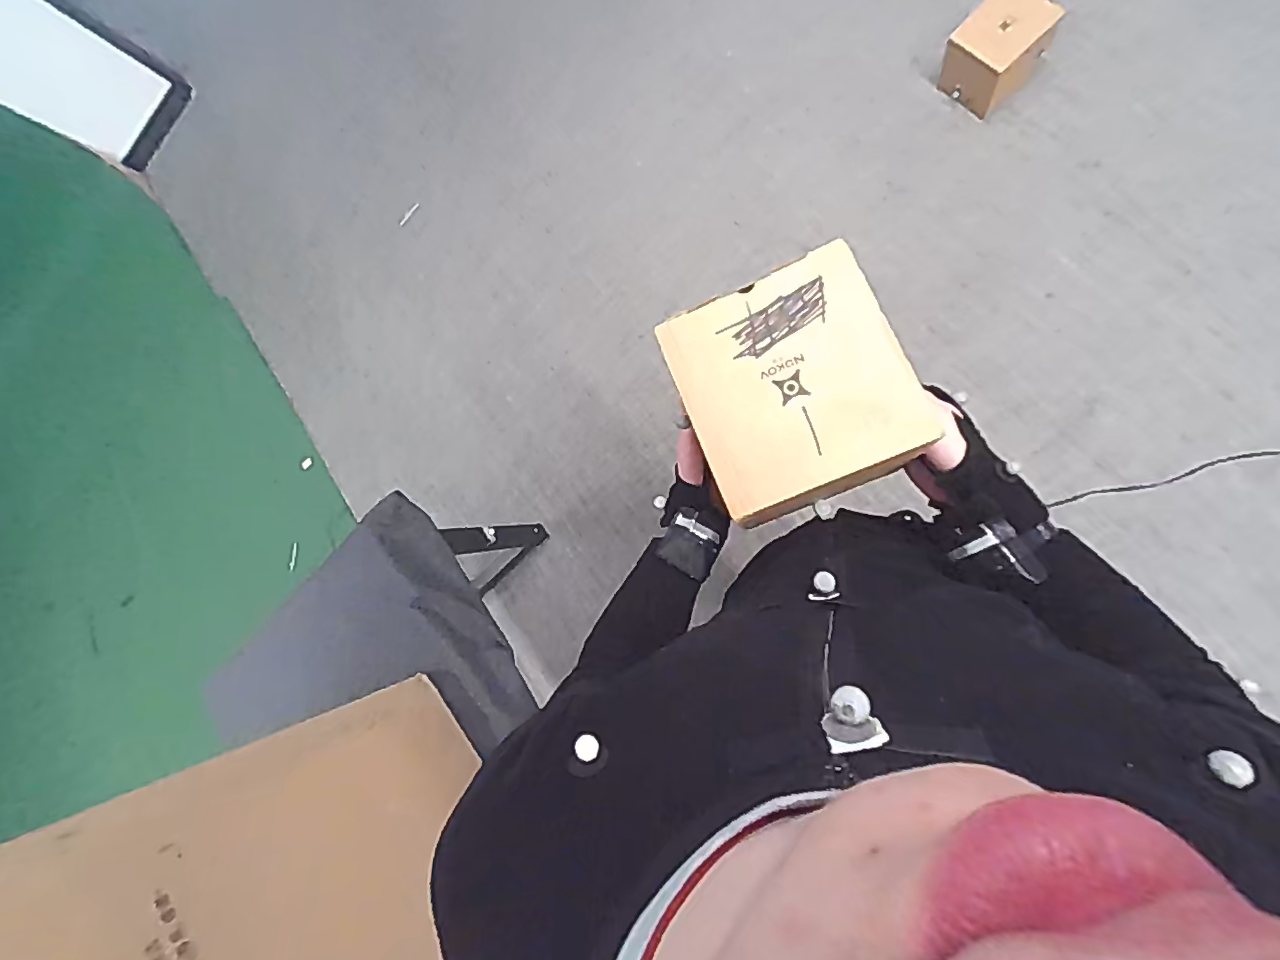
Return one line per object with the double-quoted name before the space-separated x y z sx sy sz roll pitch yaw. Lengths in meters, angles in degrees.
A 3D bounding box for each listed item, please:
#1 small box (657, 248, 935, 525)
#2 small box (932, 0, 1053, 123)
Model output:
"small box" 0.132 -0.067 0.502 0.168 0.176 0.179 -23 79 10
"small box" 0.864 -1.055 1.350 0.179 0.176 0.168 -43 74 13
